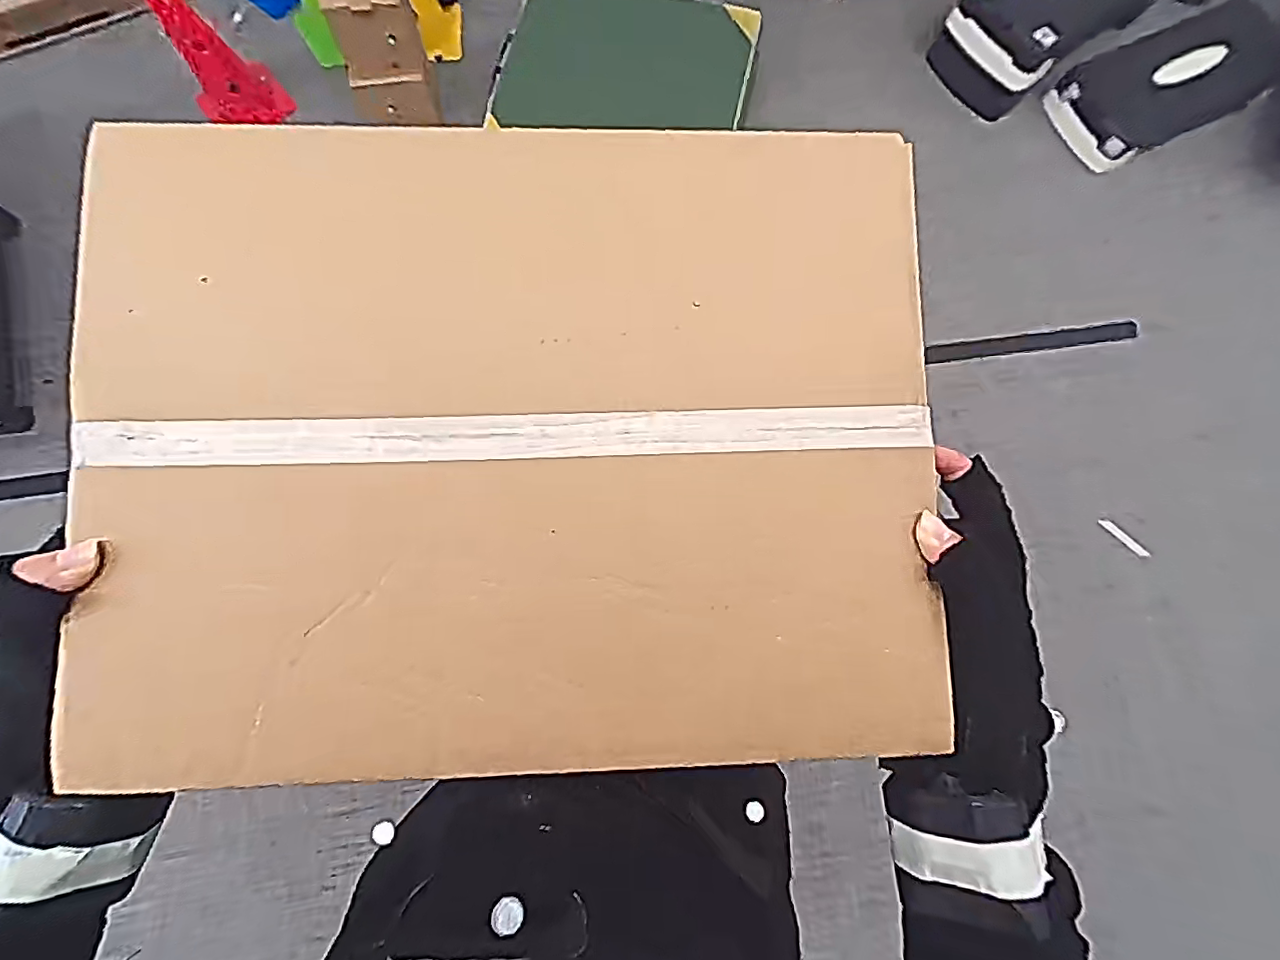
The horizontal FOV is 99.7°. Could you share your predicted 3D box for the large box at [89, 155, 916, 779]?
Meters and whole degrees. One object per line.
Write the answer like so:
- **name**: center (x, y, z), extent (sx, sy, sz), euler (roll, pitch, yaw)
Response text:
- **large box**: center (-0.068, -0.007, 0.421), extent (0.408, 0.320, 0.320), euler (-1, 84, -3)
